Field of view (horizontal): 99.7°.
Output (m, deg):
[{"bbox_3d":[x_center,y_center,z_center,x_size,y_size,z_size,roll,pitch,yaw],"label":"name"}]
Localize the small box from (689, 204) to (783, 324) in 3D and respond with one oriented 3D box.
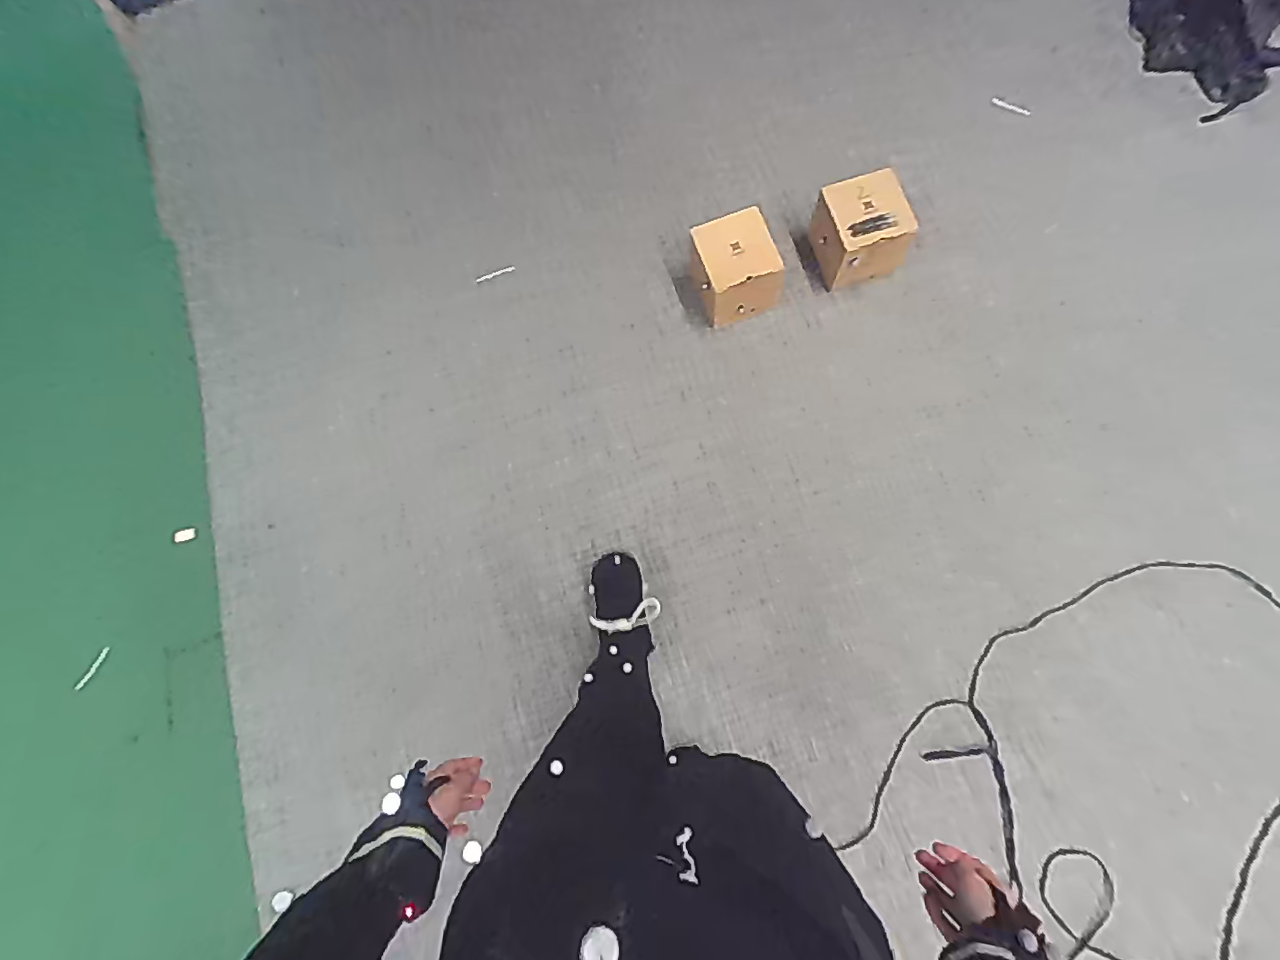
[{"bbox_3d":[0.218,-0.505,1.284,0.168,0.176,0.179,-20,77,0],"label":"small box"}]
